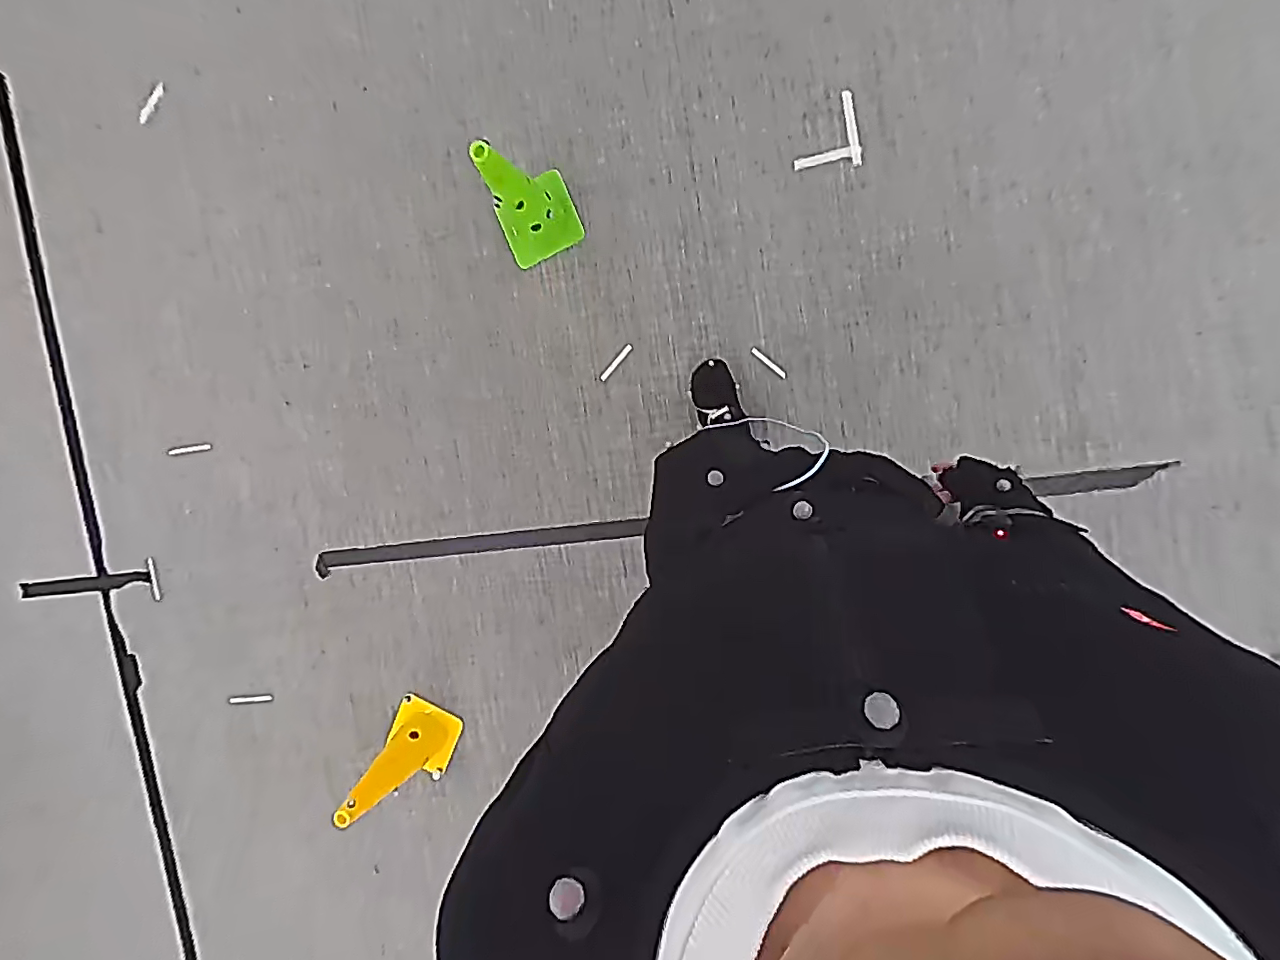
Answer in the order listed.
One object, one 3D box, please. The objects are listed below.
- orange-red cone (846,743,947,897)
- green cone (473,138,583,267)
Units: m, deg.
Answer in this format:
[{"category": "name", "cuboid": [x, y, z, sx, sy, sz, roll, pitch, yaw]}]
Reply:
[{"category": "orange-red cone", "cuboid": [0.613, 0.791, 1.233, 0.199, 0.360, 0.198, -8, 93, 11]}, {"category": "green cone", "cuboid": [-0.294, -0.673, 1.257, 0.202, 0.368, 0.200, -24, 91, 9]}]
